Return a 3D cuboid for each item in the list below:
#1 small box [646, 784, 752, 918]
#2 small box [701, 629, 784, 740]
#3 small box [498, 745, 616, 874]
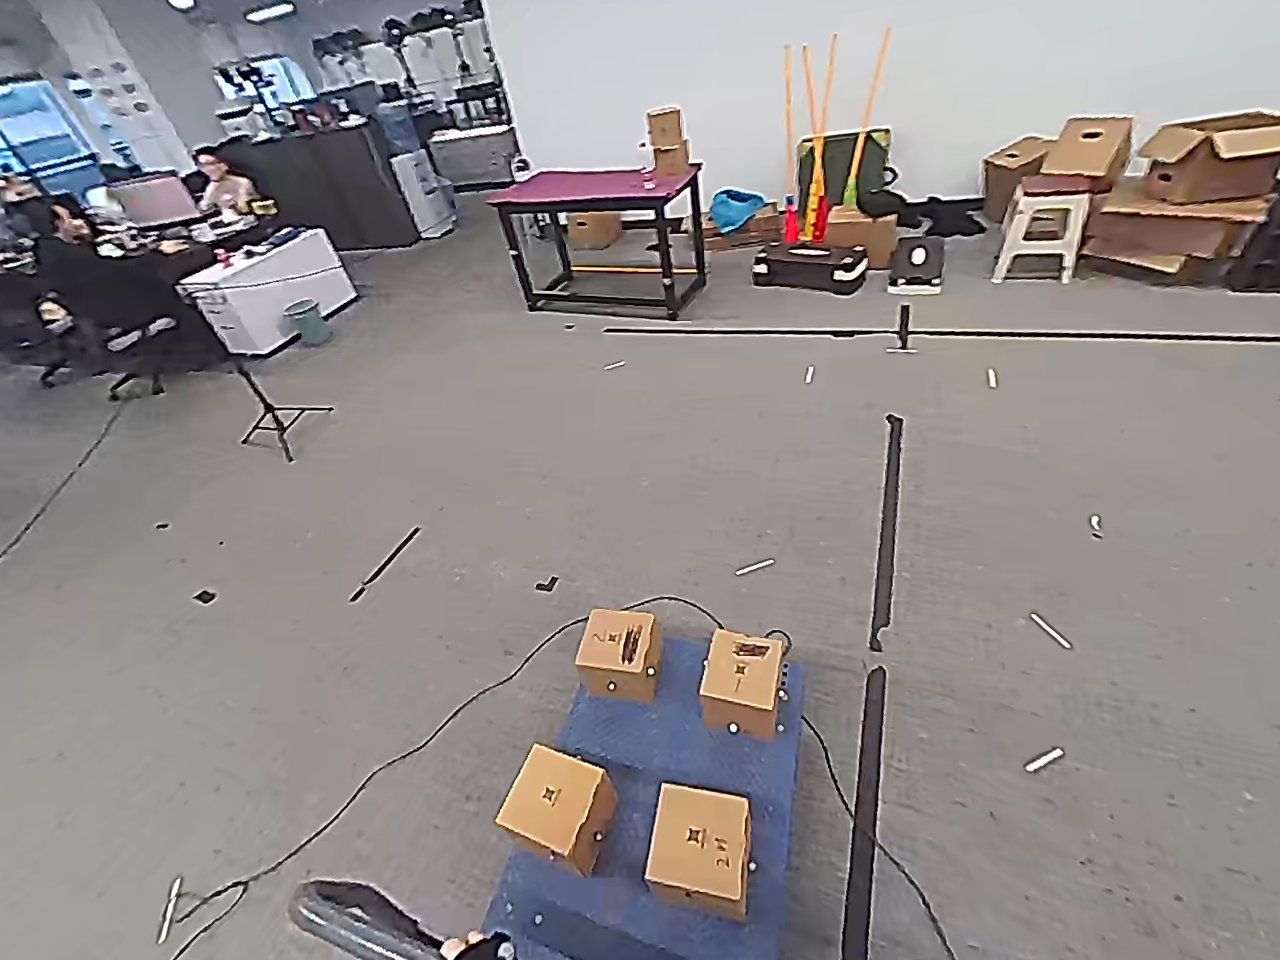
[{"bbox_3d":[0.124,0.731,1.065,0.179,0.176,0.168,2,43,16],"label":"small box"},{"bbox_3d":[0.251,0.493,1.306,0.168,0.176,0.179,6,45,20],"label":"small box"},{"bbox_3d":[-0.169,0.710,1.163,0.179,0.176,0.168,9,44,21],"label":"small box"}]
